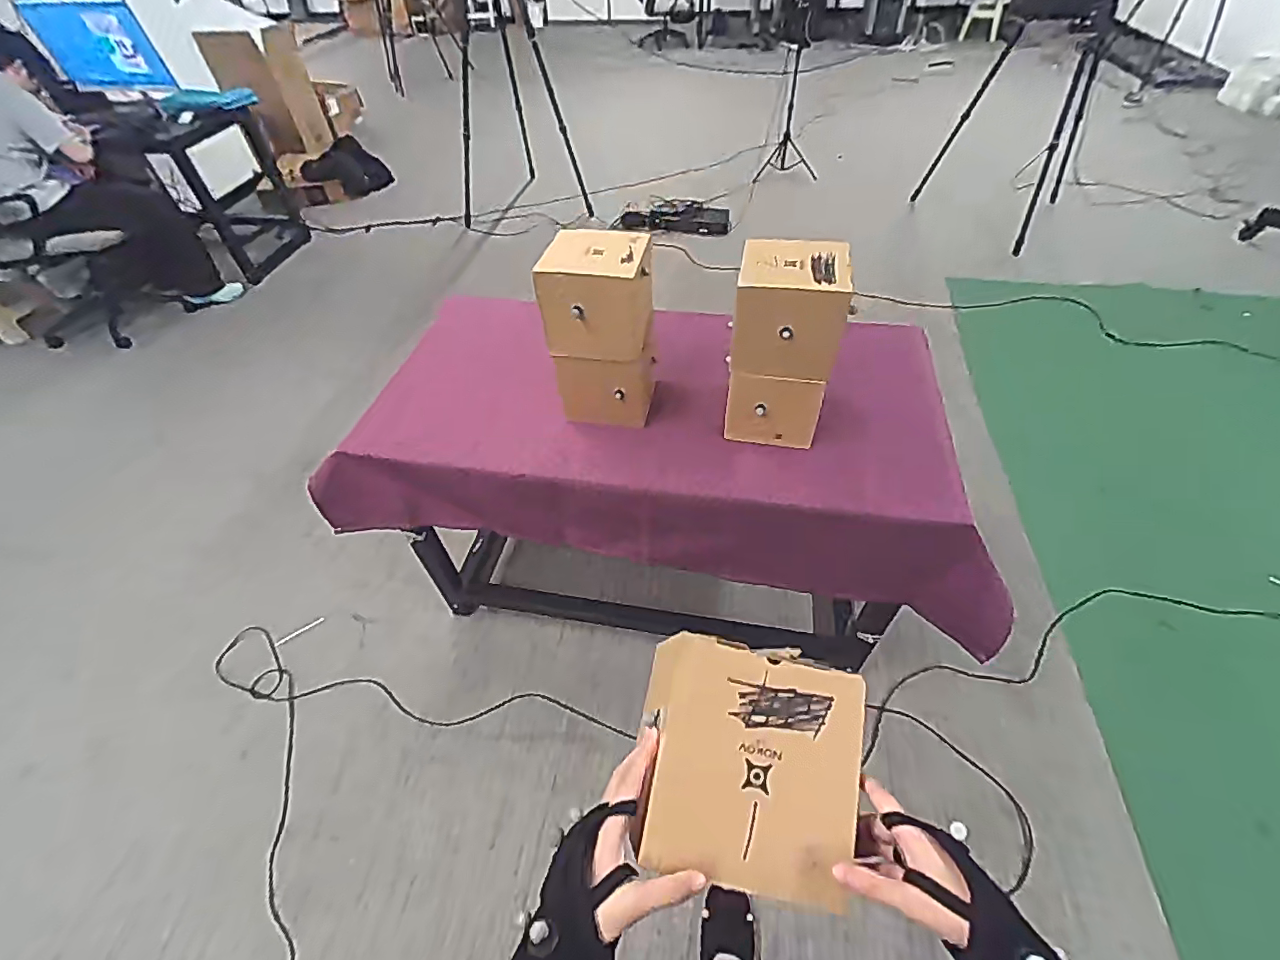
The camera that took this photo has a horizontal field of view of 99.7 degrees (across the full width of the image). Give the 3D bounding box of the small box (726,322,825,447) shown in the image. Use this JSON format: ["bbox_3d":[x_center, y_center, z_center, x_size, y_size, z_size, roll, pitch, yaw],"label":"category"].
[{"bbox_3d":[0.262,-0.186,1.061,0.168,0.176,0.179,8,48,10],"label":"small box"}]

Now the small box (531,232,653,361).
[{"bbox_3d":[-0.077,-0.335,0.995,0.179,0.176,0.168,7,49,10],"label":"small box"}]

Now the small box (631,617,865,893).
[{"bbox_3d":[0.091,0.244,0.514,0.168,0.176,0.179,14,69,-1],"label":"small box"}]

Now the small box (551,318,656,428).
[{"bbox_3d":[-0.066,-0.226,1.117,0.179,0.176,0.168,7,48,9],"label":"small box"}]
